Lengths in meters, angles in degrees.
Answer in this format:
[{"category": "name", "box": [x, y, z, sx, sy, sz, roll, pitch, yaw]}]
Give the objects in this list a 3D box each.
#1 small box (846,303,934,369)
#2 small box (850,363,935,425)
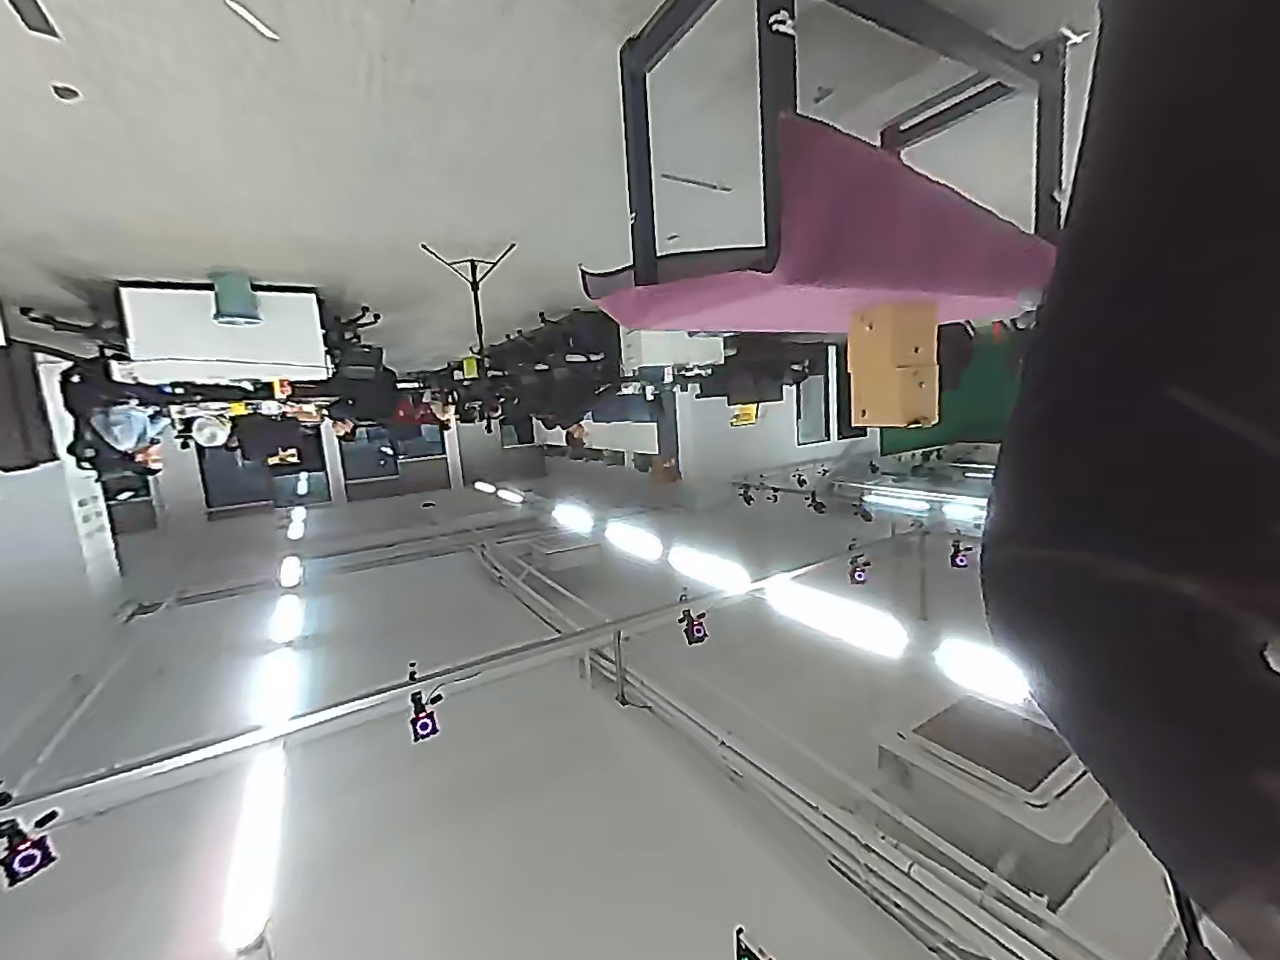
[{"category": "small box", "box": [0.723, -0.416, 1.564, 0.179, 0.176, 0.168, -7, -171, -20]}, {"category": "small box", "box": [0.750, -0.257, 1.605, 0.168, 0.176, 0.179, -9, -170, -25]}]
